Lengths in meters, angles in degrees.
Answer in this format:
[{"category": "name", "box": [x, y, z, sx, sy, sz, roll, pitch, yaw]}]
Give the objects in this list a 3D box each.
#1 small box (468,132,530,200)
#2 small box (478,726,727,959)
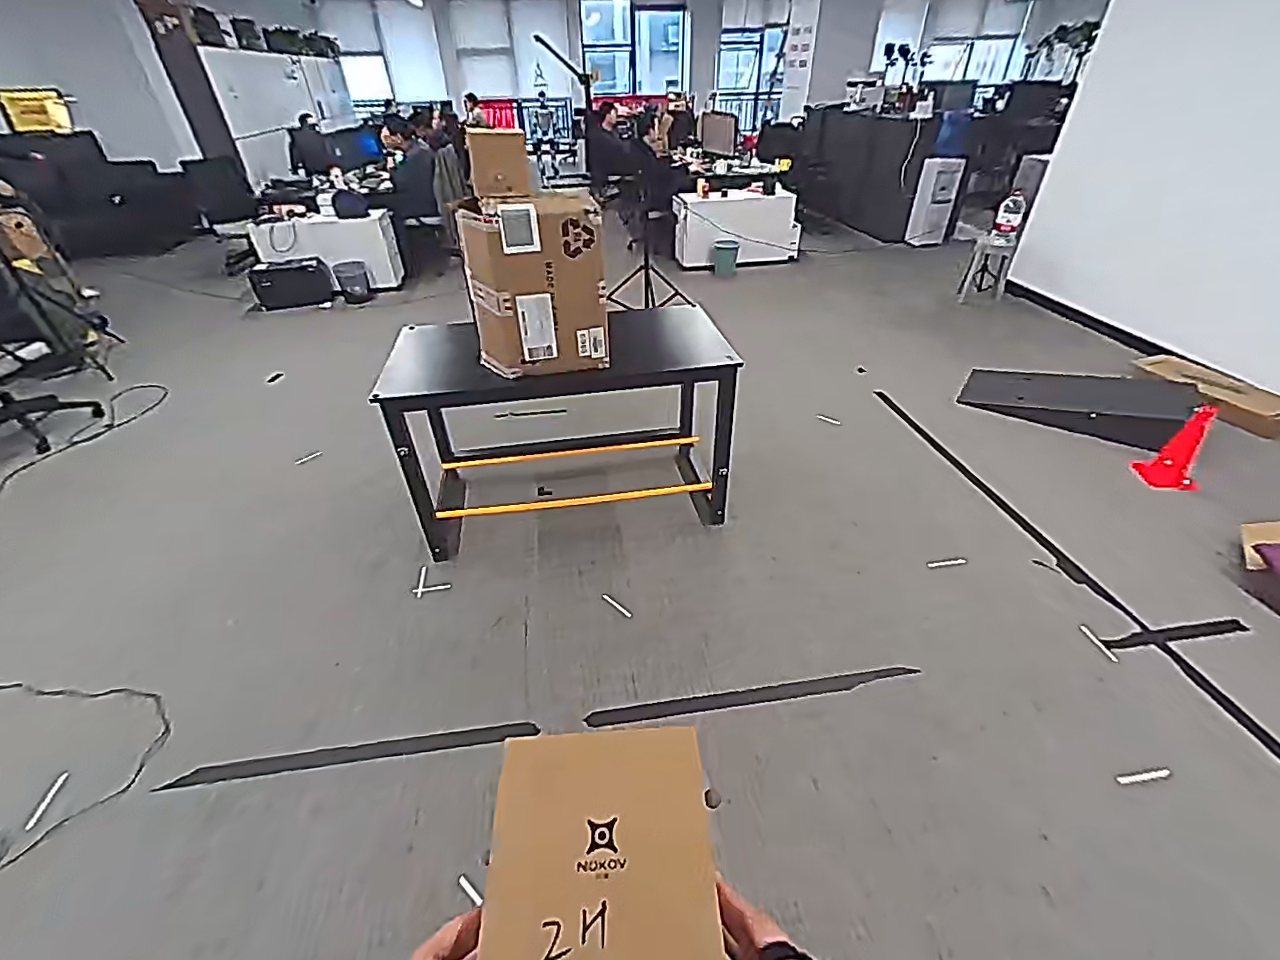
[{"category": "small box", "box": [-0.435, -0.971, 1.669, 0.168, 0.176, 0.179, -8, 35, -13]}, {"category": "small box", "box": [-0.027, 0.334, 0.454, 0.168, 0.176, 0.179, -4, 41, -1]}]
